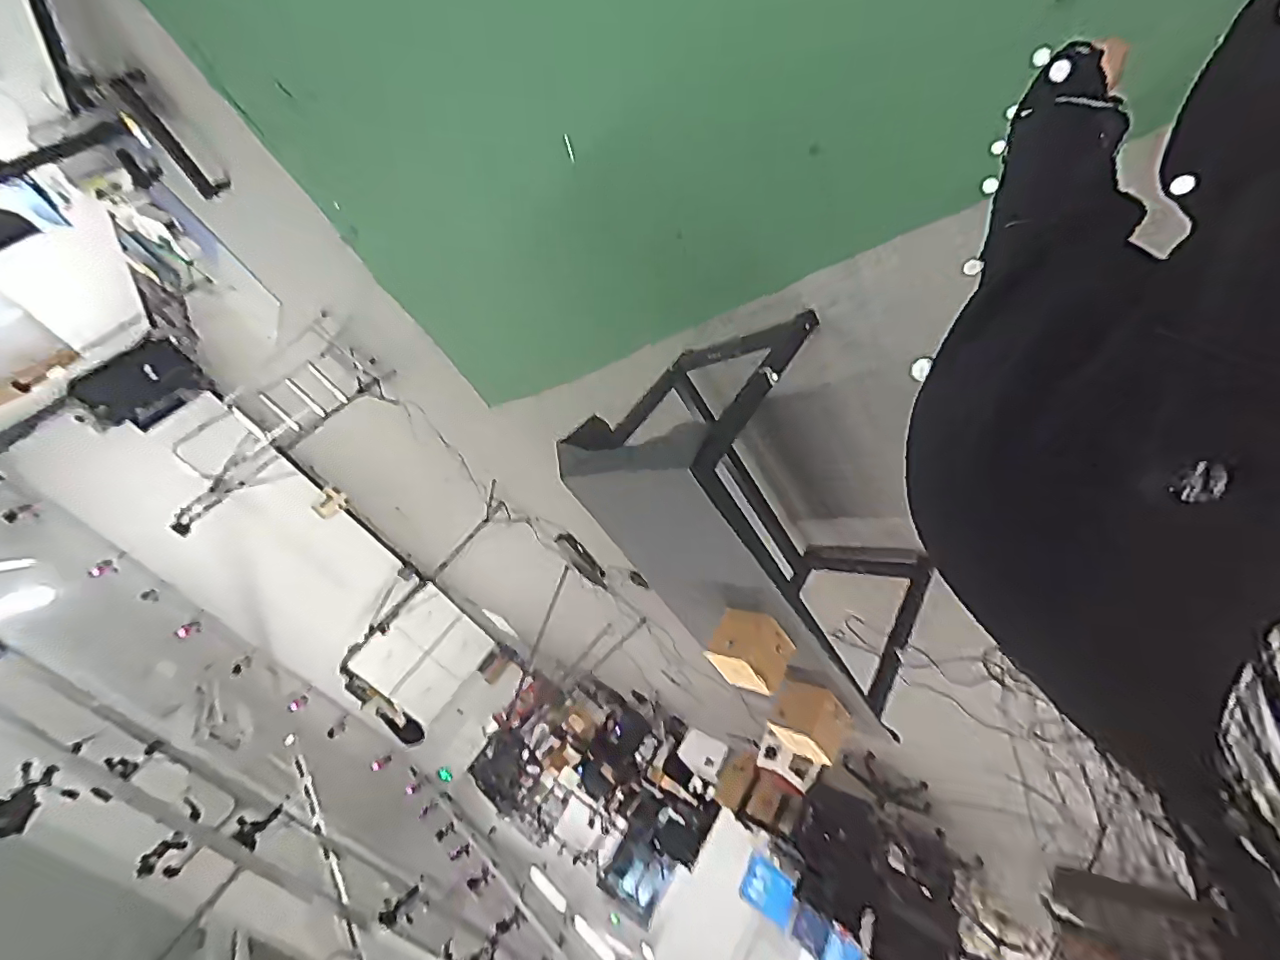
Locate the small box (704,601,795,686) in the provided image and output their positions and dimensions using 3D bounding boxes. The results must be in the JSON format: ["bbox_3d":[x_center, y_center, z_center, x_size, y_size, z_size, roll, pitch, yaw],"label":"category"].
[{"bbox_3d":[0.334,0.484,1.630,0.179,0.176,0.168,-7,129,52],"label":"small box"}]

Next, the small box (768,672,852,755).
[{"bbox_3d":[0.558,0.752,1.765,0.179,0.176,0.168,-7,129,52],"label":"small box"}]
